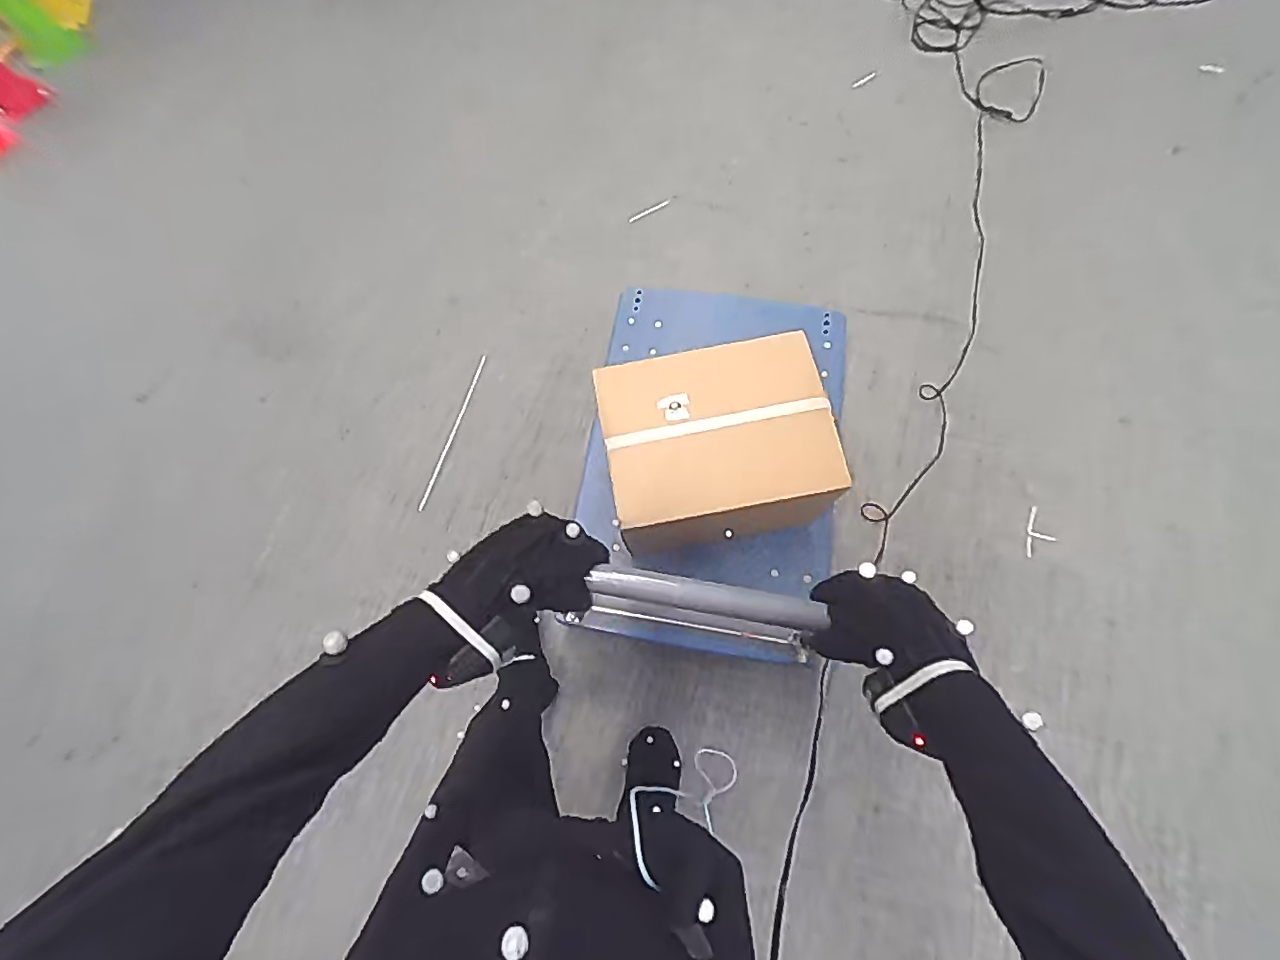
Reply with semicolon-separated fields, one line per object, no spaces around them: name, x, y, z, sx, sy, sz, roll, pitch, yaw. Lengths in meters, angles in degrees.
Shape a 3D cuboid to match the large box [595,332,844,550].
large box;0.146;-0.059;1.120;0.408;0.320;0.320;-11;72;1
